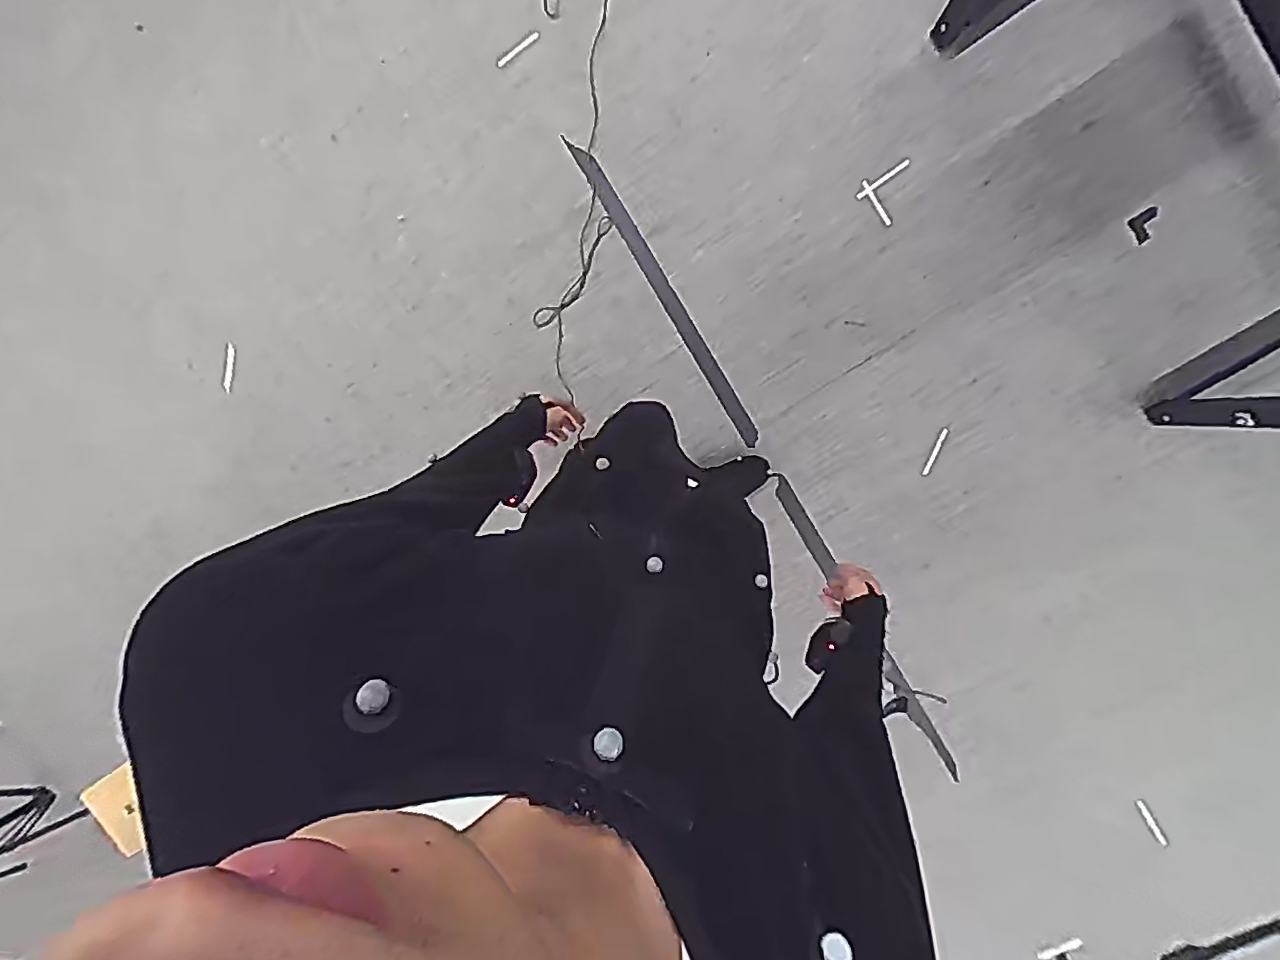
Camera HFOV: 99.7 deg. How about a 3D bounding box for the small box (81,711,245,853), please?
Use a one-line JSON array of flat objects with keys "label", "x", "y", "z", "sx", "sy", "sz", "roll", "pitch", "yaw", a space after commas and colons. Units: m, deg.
[{"label": "small box", "x": -1.019, "y": 0.644, "z": 1.171, "sx": 0.179, "sy": 0.176, "sz": 0.168, "roll": -35, "pitch": 93, "yaw": 10}]
